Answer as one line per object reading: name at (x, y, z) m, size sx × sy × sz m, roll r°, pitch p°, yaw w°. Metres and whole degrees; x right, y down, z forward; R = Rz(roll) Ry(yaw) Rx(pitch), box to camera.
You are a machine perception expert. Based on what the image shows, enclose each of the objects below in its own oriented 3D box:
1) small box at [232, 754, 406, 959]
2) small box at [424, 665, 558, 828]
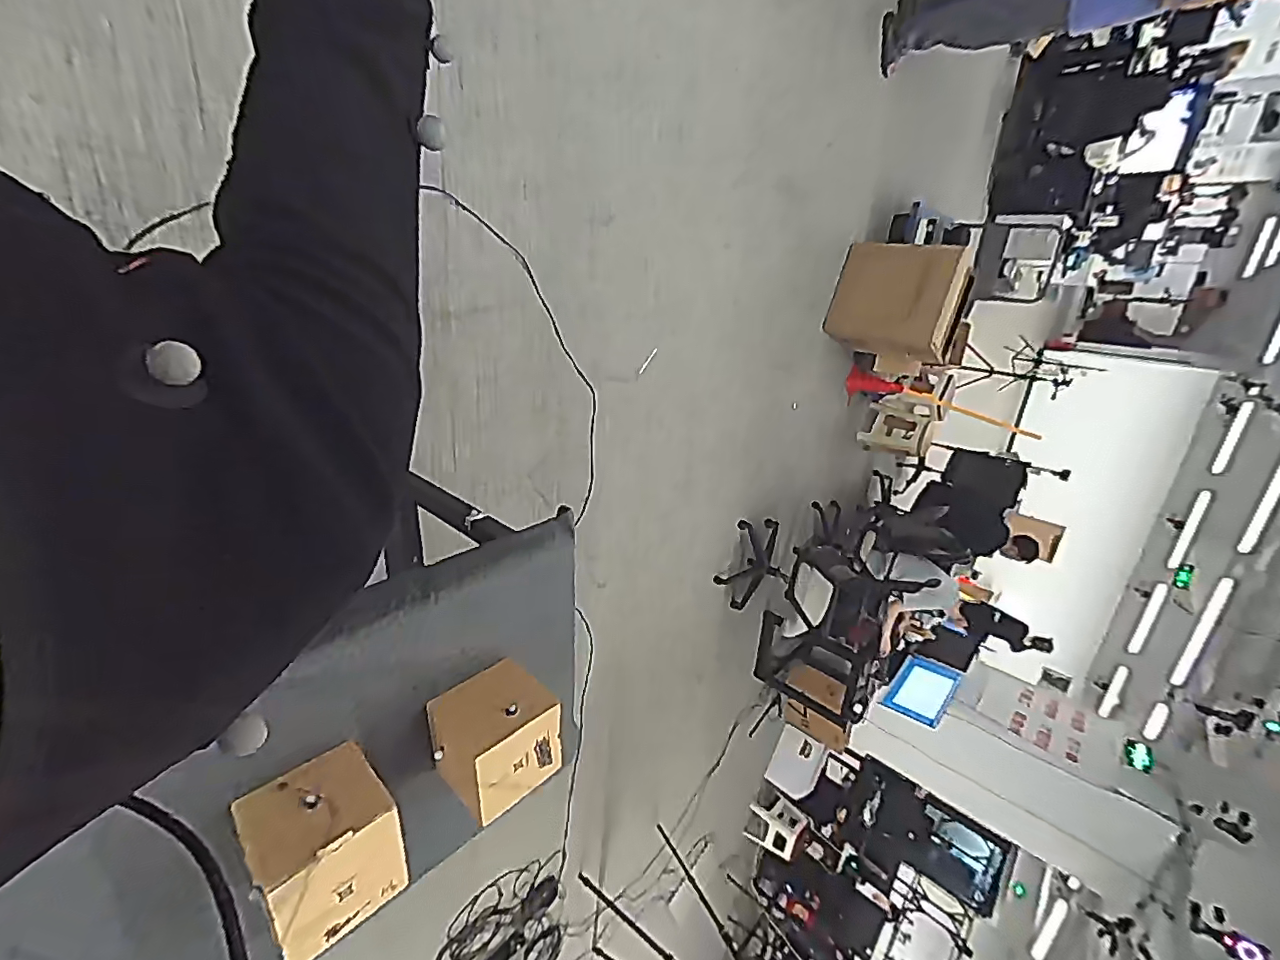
small box at (-0.471, 0.542, 0.797) m, size 0.168 × 0.176 × 0.179 m, roll -19°, pitch 120°, yaw -45°
small box at (-0.272, 0.479, 1.003) m, size 0.179 × 0.176 × 0.168 m, roll -21°, pitch 121°, yaw -43°
